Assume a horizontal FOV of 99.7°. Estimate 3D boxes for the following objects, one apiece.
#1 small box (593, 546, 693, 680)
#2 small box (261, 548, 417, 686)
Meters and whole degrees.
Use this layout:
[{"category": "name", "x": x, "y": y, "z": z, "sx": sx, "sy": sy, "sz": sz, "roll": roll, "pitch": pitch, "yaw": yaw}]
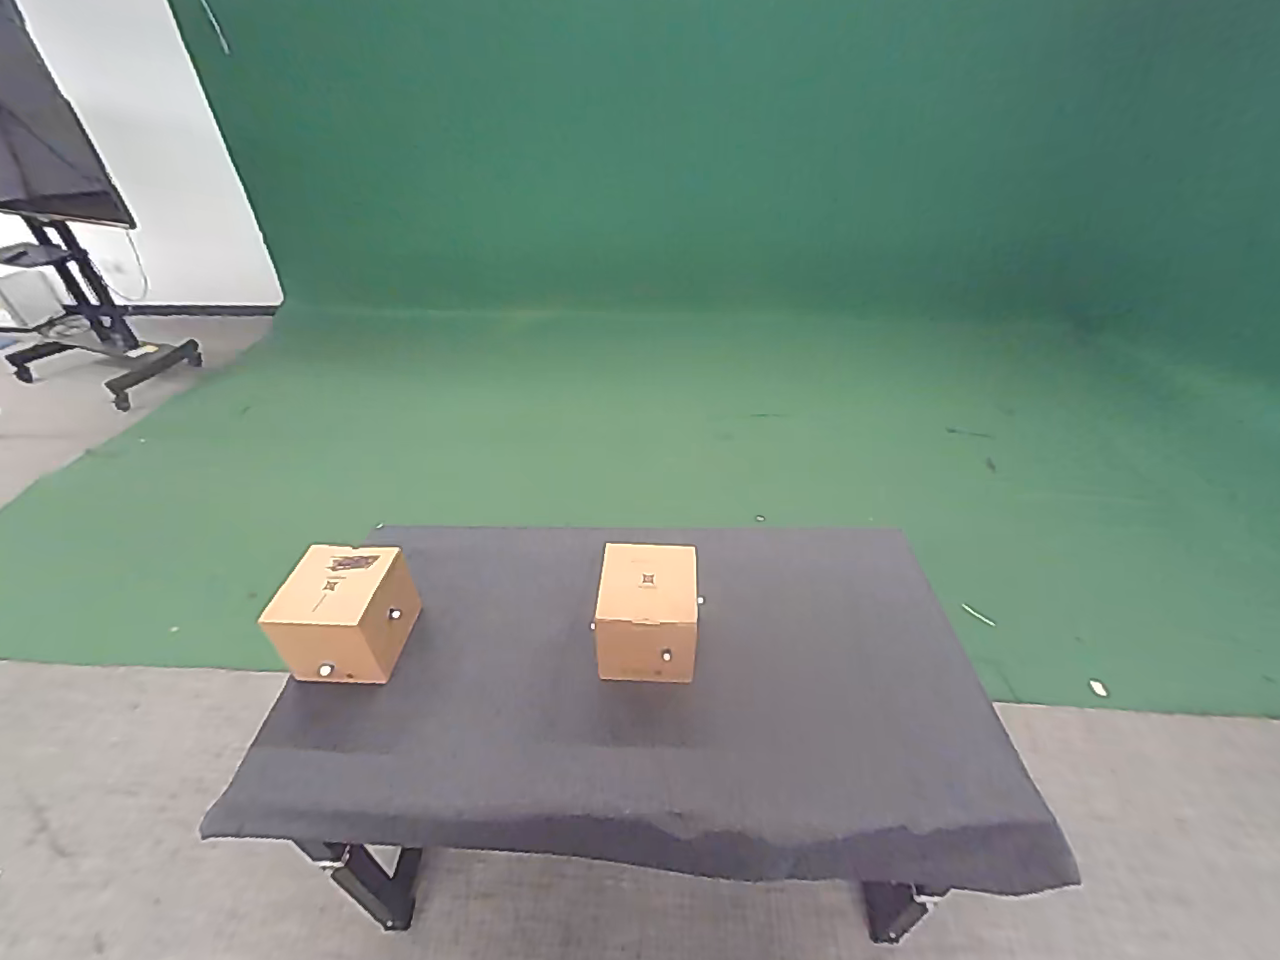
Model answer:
[{"category": "small box", "x": 0.008, "y": 0.242, "z": 0.980, "sx": 0.168, "sy": 0.176, "sz": 0.179, "roll": 2, "pitch": 37, "yaw": 1}, {"category": "small box", "x": -0.522, "y": 0.244, "z": 0.973, "sx": 0.168, "sy": 0.176, "sz": 0.179, "roll": 1, "pitch": 39, "yaw": 2}]
